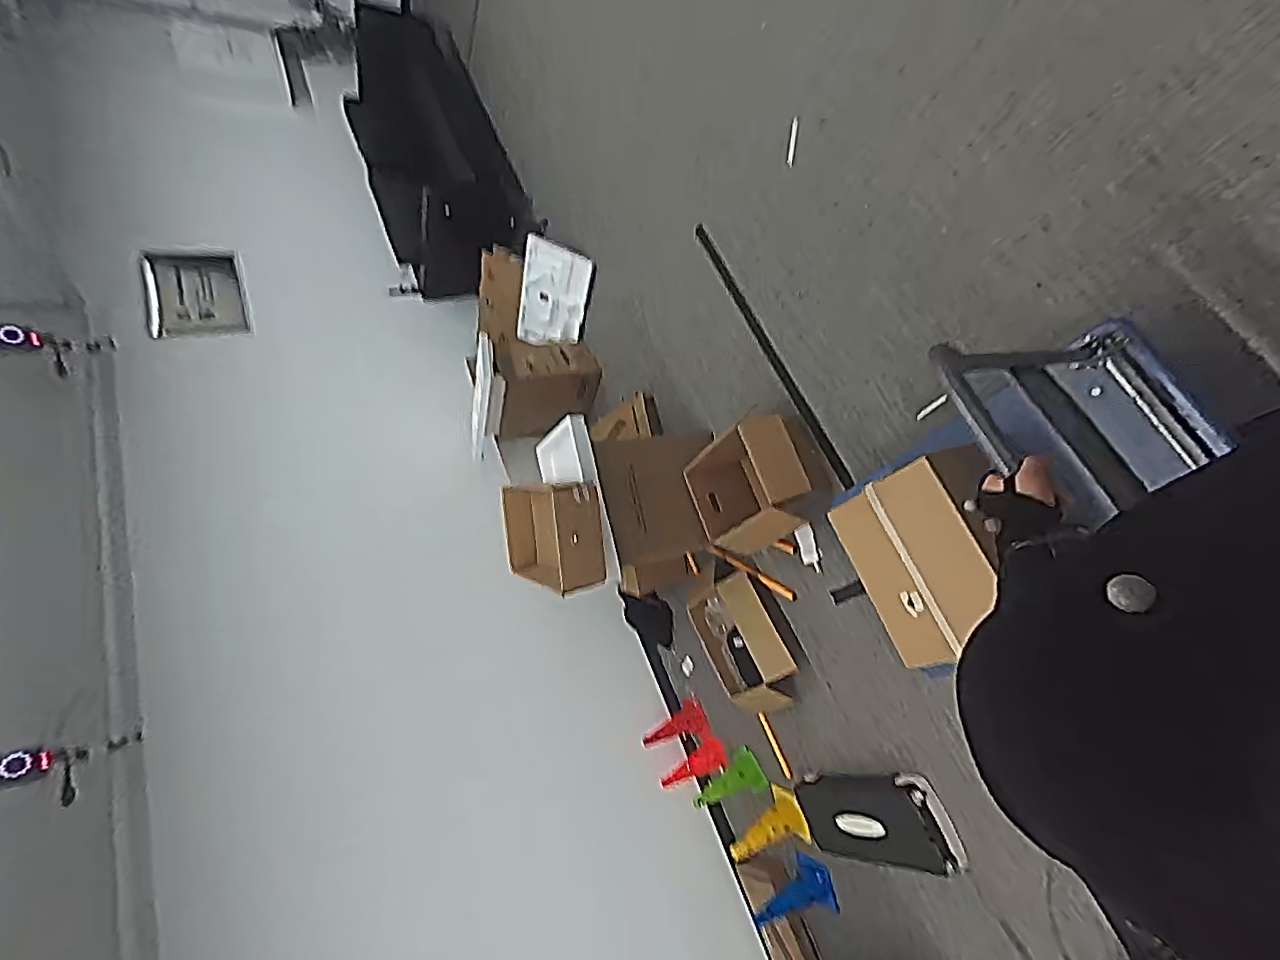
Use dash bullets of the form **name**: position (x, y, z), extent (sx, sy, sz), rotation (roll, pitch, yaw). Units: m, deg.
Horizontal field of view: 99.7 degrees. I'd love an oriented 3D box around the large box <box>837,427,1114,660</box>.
- **large box**: position (0.749, 0.141, 1.245), extent (0.408, 0.320, 0.320), rotation (66, 150, 17)
